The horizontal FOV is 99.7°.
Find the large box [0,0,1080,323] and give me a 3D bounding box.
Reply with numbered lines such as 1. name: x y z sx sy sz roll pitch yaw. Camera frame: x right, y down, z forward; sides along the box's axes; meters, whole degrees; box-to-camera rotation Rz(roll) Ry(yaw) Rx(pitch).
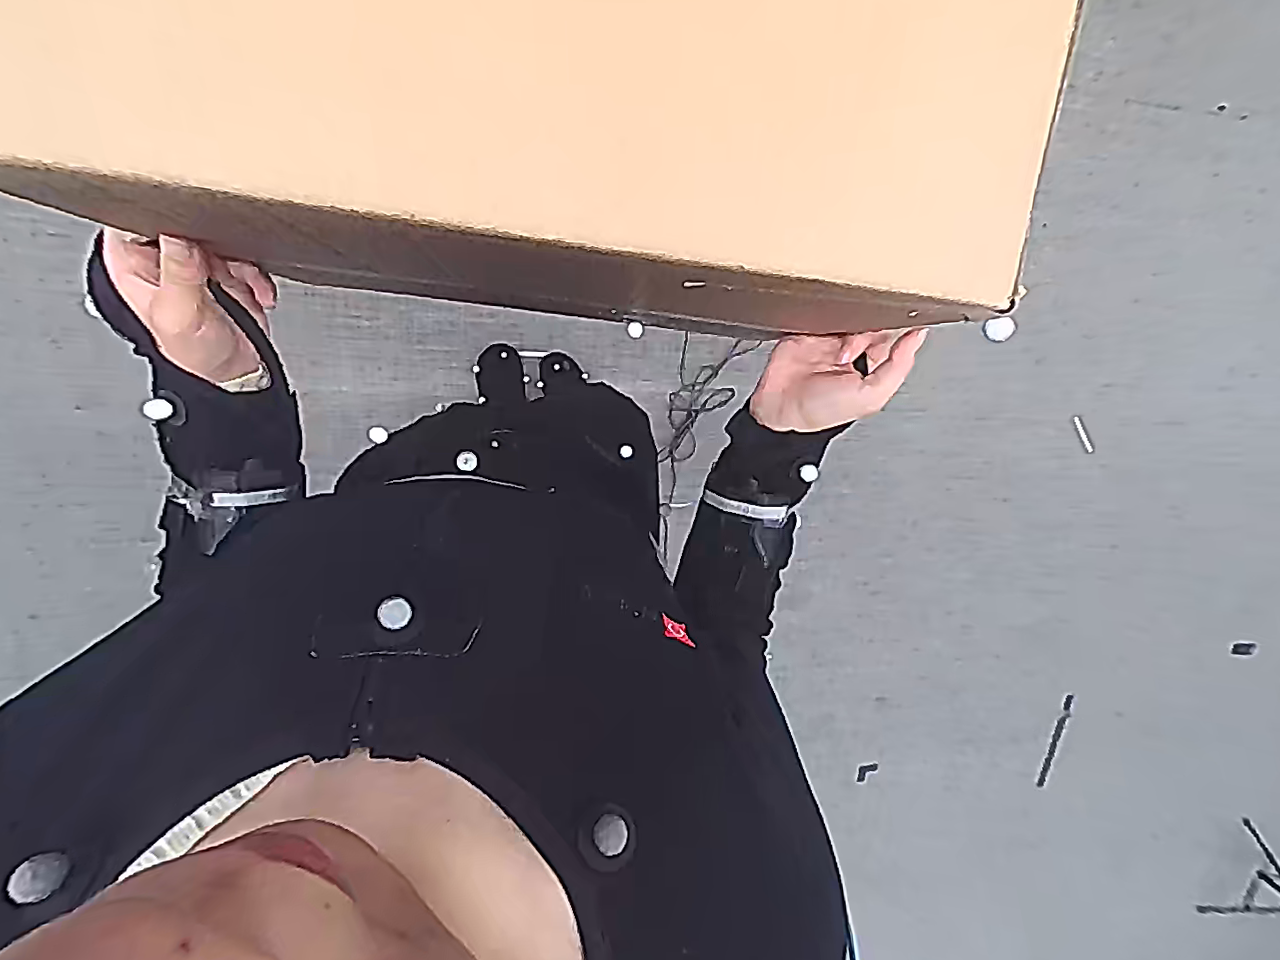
1. large box: -0.044 -0.278 0.307 0.408 0.320 0.320 3 103 -10
